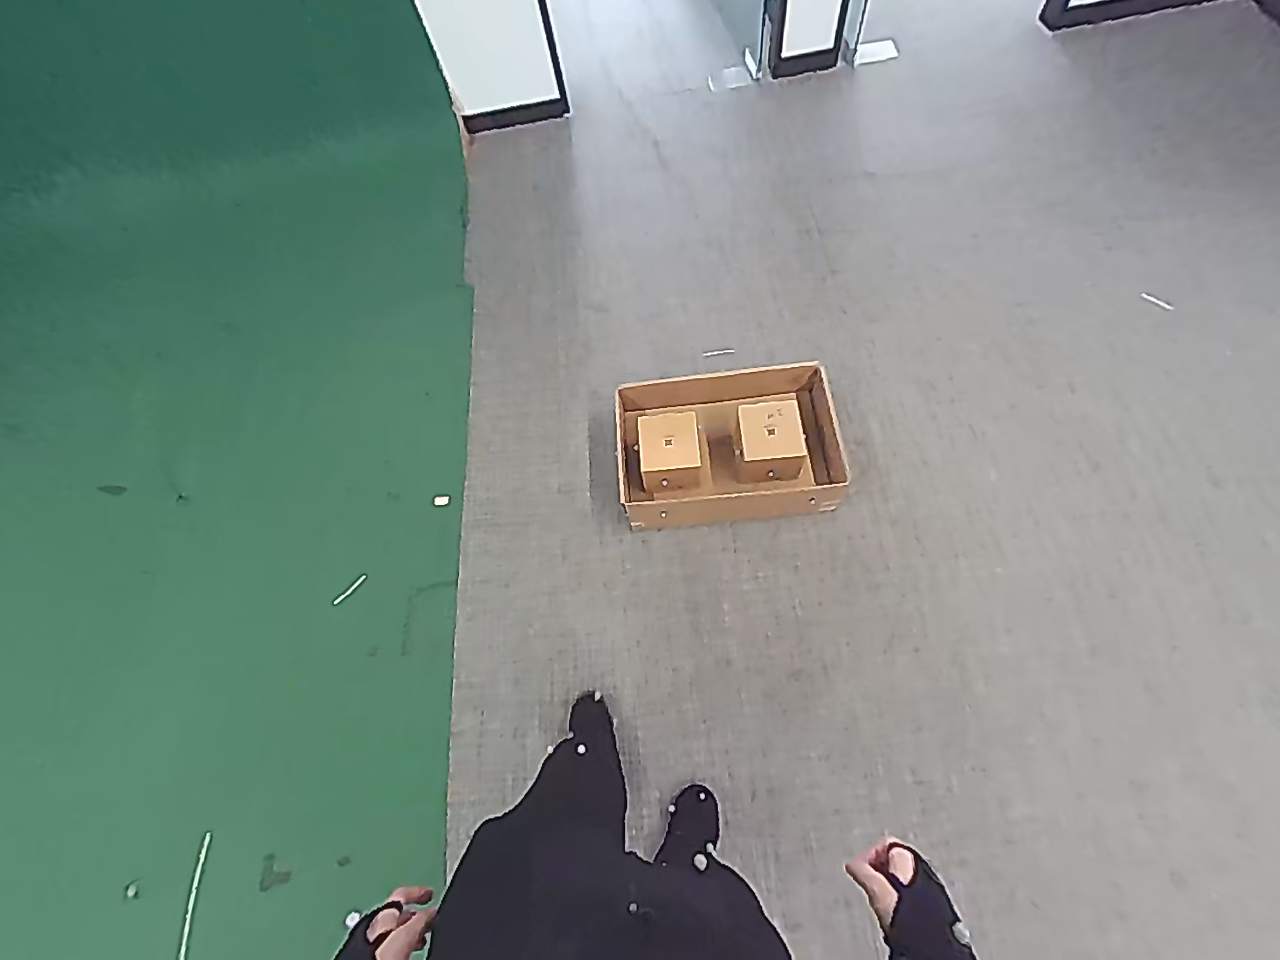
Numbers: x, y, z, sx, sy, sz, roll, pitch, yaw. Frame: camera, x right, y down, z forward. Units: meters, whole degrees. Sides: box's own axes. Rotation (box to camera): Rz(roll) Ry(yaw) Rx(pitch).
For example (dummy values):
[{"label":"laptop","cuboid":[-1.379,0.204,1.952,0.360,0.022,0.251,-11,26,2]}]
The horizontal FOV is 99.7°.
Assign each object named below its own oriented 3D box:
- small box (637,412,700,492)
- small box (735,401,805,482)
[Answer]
[{"label":"small box","cuboid":[0.085,-0.074,1.563,0.168,0.176,0.179,-5,64,4]},{"label":"small box","cuboid":[0.365,-0.102,1.544,0.168,0.176,0.179,-4,66,5]}]
